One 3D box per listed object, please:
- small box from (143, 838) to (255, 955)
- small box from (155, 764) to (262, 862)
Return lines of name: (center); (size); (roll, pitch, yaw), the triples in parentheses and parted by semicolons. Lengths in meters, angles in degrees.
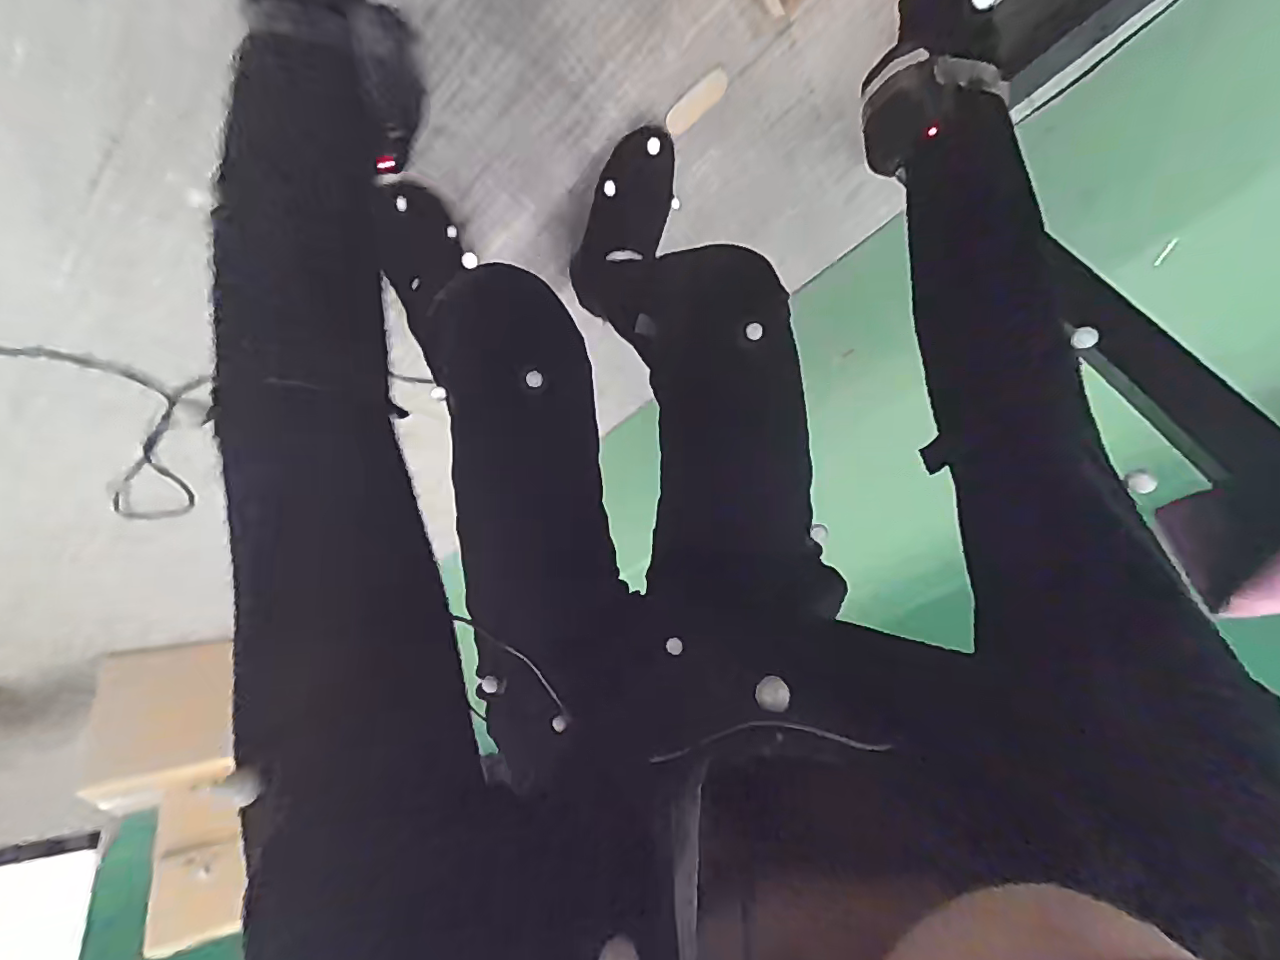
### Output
small box: (-0.987, 0.938, 1.226); (0.168, 0.176, 0.179); (-1, 143, -30)
small box: (-1.041, 0.813, 1.320); (0.168, 0.176, 0.179); (-4, 145, -26)
